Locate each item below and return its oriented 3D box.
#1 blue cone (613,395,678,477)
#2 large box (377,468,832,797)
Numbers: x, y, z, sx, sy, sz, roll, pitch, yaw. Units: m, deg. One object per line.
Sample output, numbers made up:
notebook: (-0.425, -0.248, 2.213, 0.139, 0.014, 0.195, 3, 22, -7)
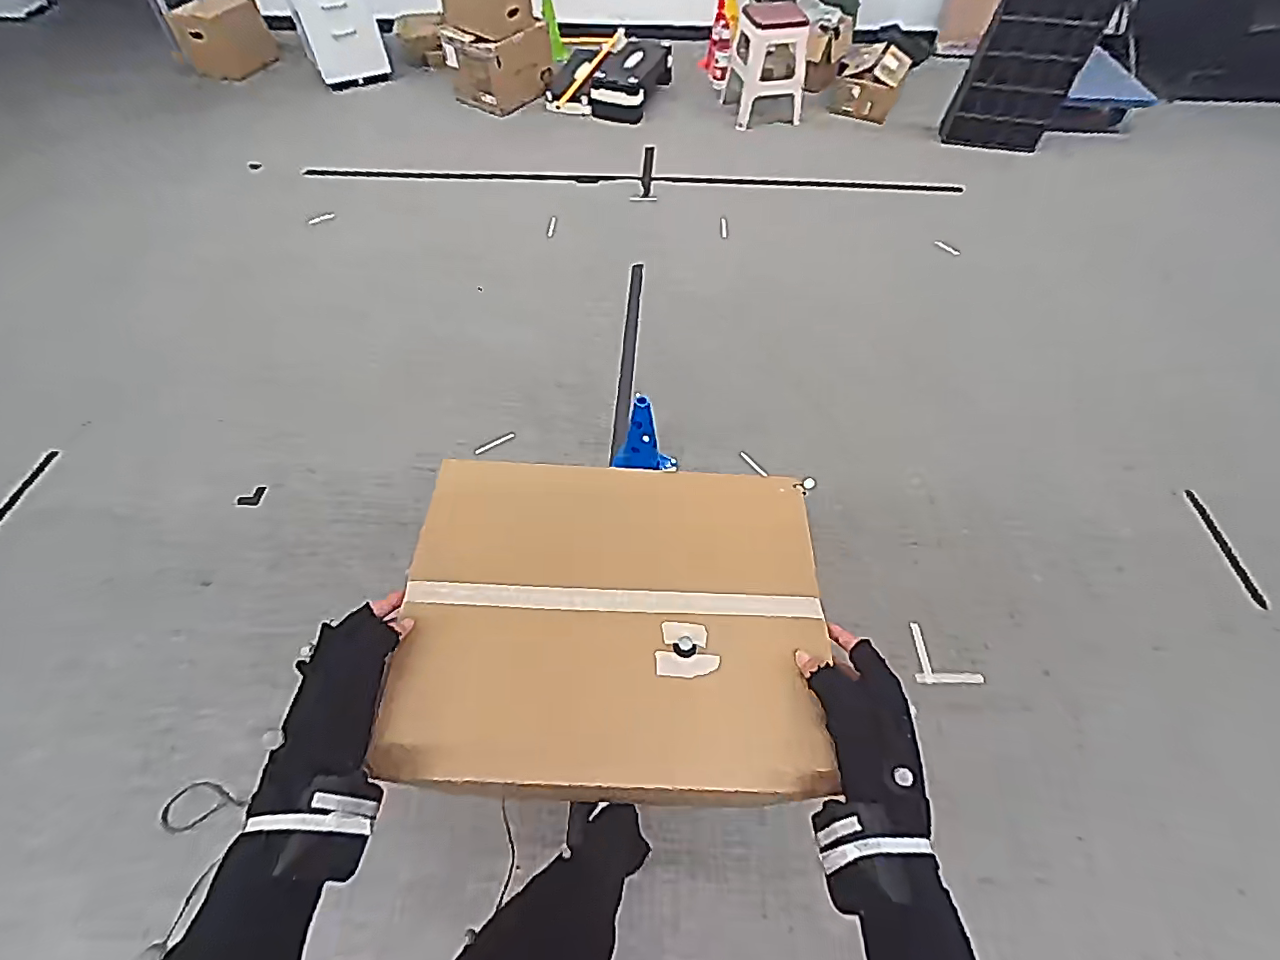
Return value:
blue cone: (0.014, -0.107, 1.622, 0.193, 0.380, 0.192, 21, 58, 13)
large box: (-0.034, 0.203, 0.669, 0.408, 0.320, 0.320, 3, 57, -1)
